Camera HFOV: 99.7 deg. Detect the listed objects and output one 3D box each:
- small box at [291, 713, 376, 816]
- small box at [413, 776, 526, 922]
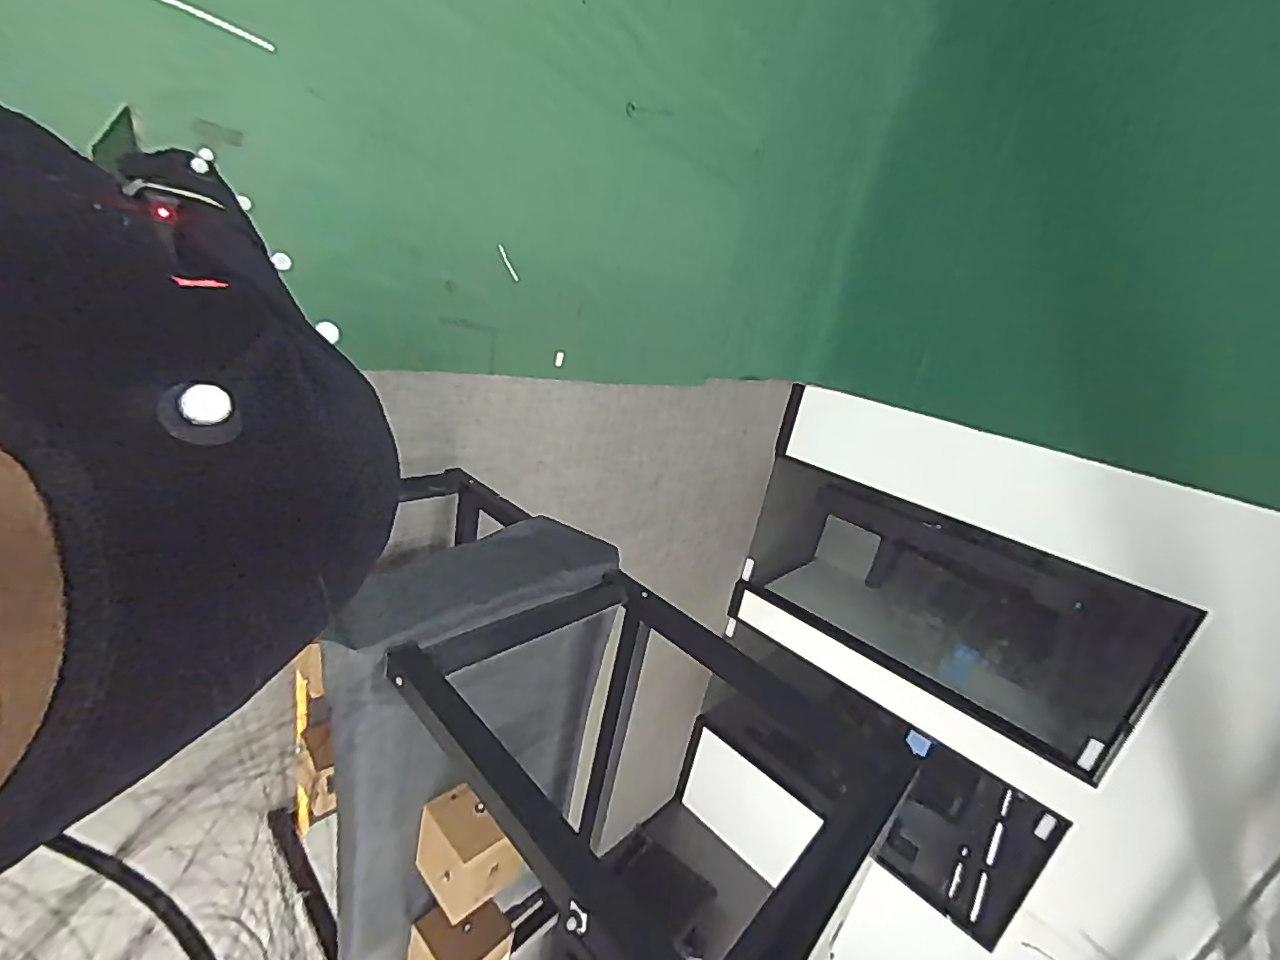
[{"bbox_3d":[-0.913,0.835,1.604,0.179,0.176,0.168,-6,115,-49],"label":"small box"},{"bbox_3d":[-0.375,0.785,1.179,0.168,0.176,0.179,-6,115,-49],"label":"small box"}]
